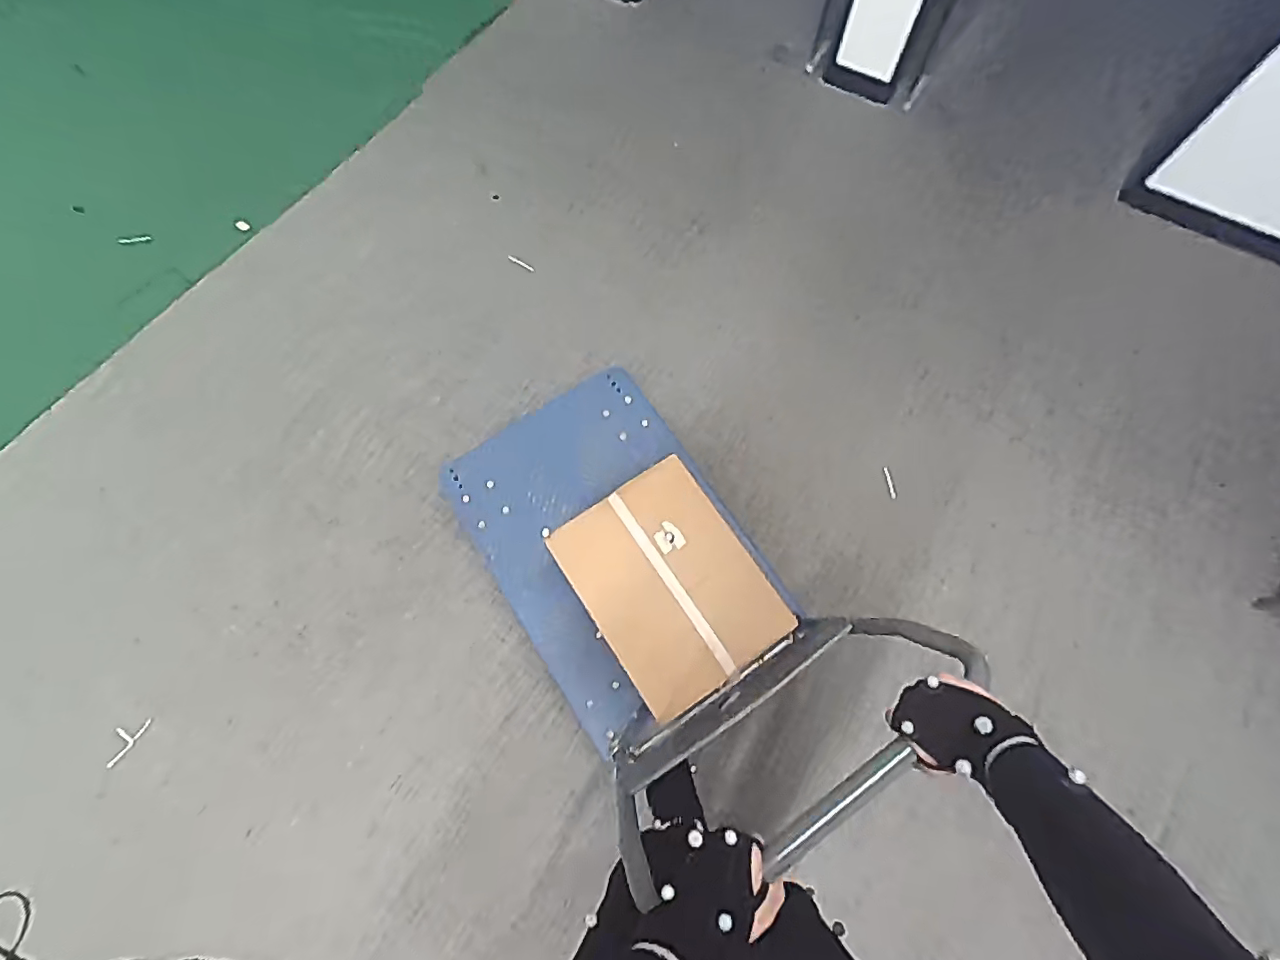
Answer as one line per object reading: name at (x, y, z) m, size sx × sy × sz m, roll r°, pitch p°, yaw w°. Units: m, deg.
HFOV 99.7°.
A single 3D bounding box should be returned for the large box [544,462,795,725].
large box at (0.052, 0.242, 1.161) m, size 0.320 × 0.320 × 0.408 m, roll -33°, pitch 76°, yaw -11°
